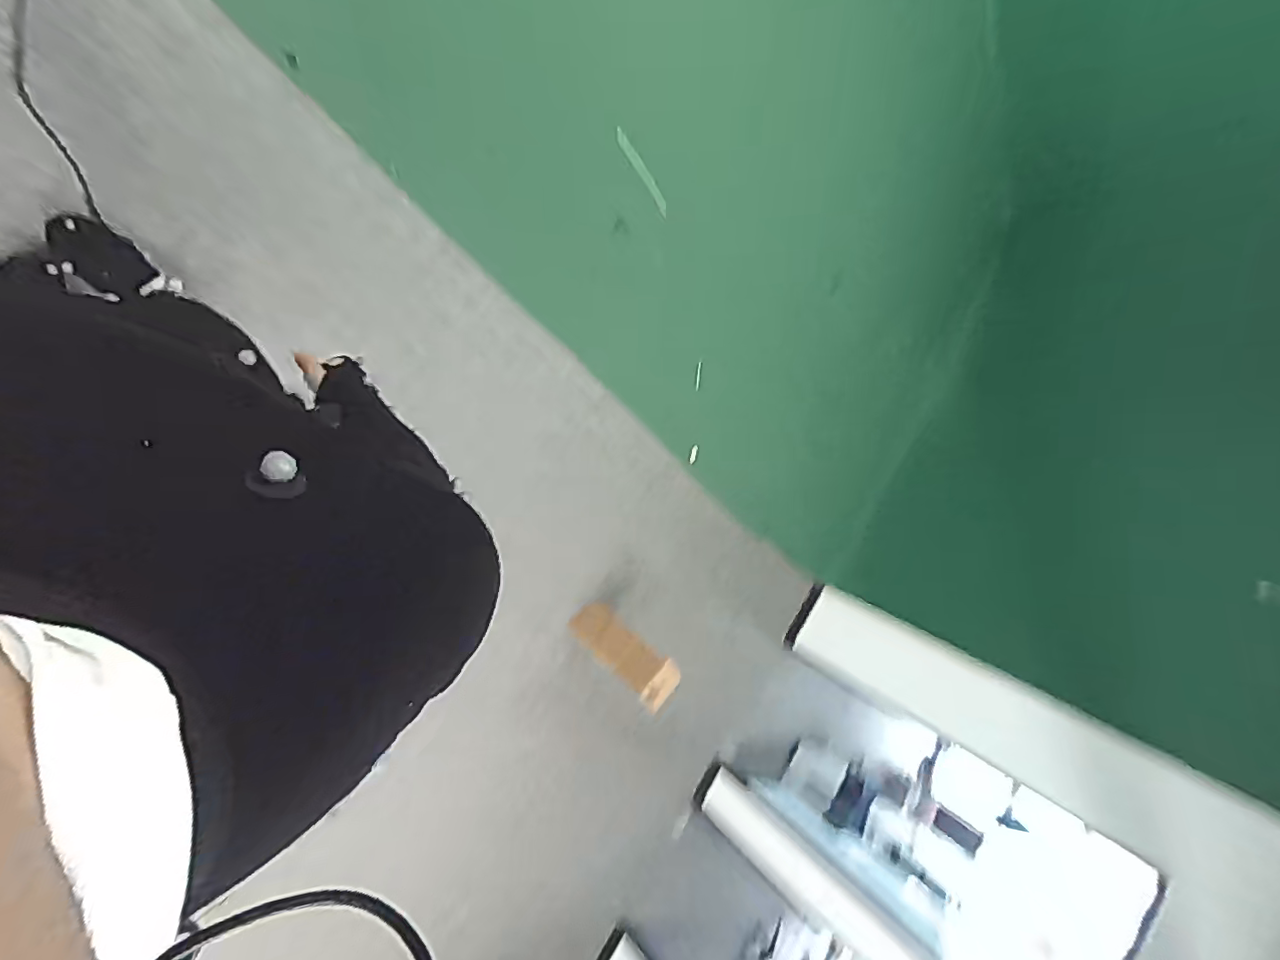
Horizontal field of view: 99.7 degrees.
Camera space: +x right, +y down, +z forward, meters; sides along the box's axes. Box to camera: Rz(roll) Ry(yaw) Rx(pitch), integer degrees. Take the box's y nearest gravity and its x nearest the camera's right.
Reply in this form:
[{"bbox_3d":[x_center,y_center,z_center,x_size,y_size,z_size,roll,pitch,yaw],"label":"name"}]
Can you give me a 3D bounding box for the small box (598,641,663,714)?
[{"bbox_3d":[-0.045,0.776,2.131,0.179,0.176,0.168,-46,135,-19],"label":"small box"}]
